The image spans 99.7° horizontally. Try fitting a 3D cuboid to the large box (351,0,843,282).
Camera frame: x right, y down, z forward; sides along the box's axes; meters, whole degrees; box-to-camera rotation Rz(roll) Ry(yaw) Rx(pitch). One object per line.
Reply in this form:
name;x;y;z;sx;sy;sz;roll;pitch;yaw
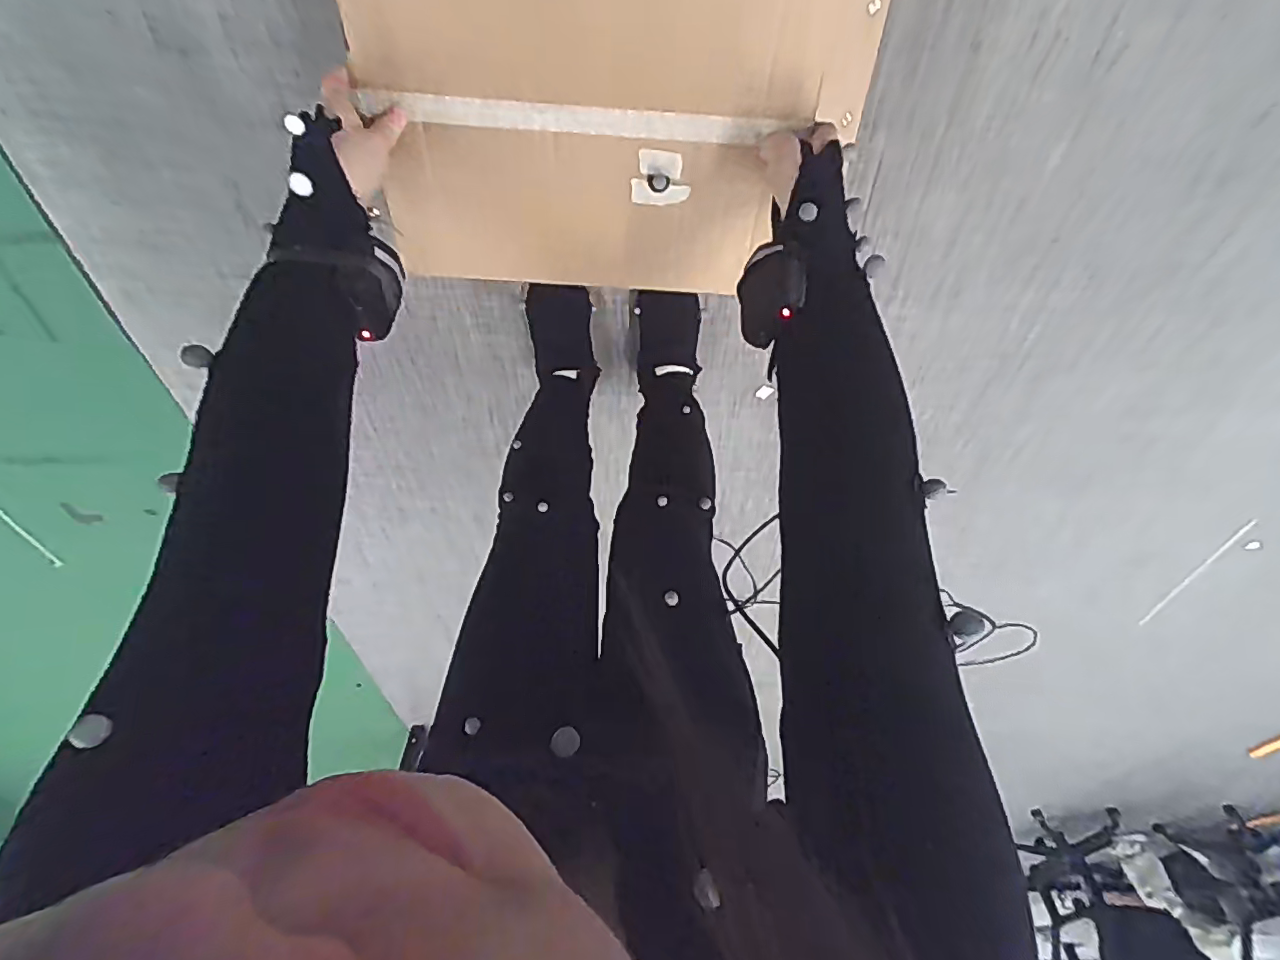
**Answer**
large box;-0.043;-0.436;0.592;0.408;0.320;0.320;2;134;-4
